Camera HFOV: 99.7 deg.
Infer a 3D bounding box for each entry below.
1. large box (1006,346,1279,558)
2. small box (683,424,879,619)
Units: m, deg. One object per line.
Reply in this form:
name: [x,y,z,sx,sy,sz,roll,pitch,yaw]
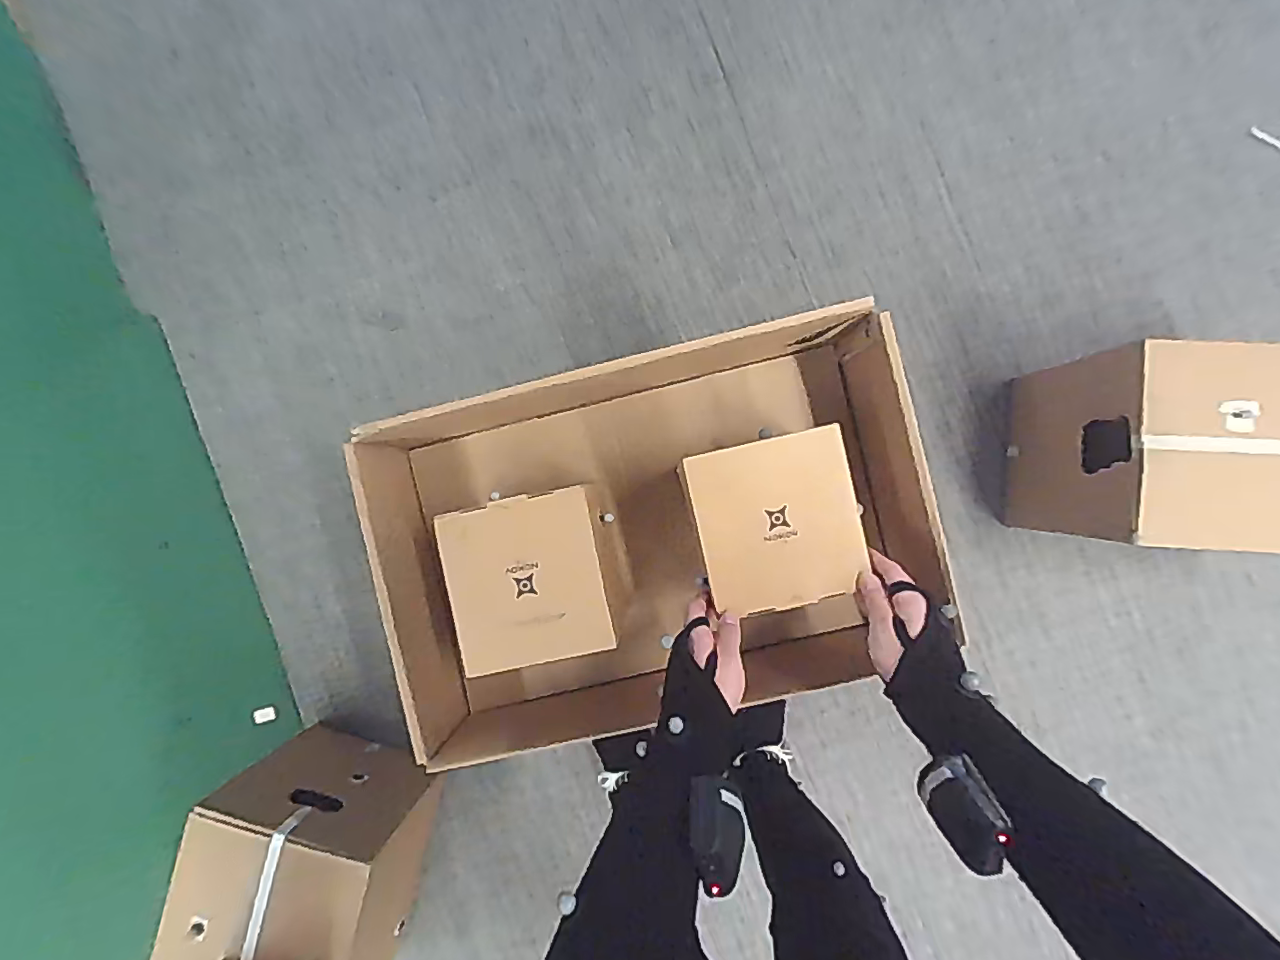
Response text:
large box: [0.946,-0.042,0.946,0.408,0.320,0.320,3,90,3]
small box: [0.149,0.041,0.629,0.168,0.176,0.179,-12,93,1]
